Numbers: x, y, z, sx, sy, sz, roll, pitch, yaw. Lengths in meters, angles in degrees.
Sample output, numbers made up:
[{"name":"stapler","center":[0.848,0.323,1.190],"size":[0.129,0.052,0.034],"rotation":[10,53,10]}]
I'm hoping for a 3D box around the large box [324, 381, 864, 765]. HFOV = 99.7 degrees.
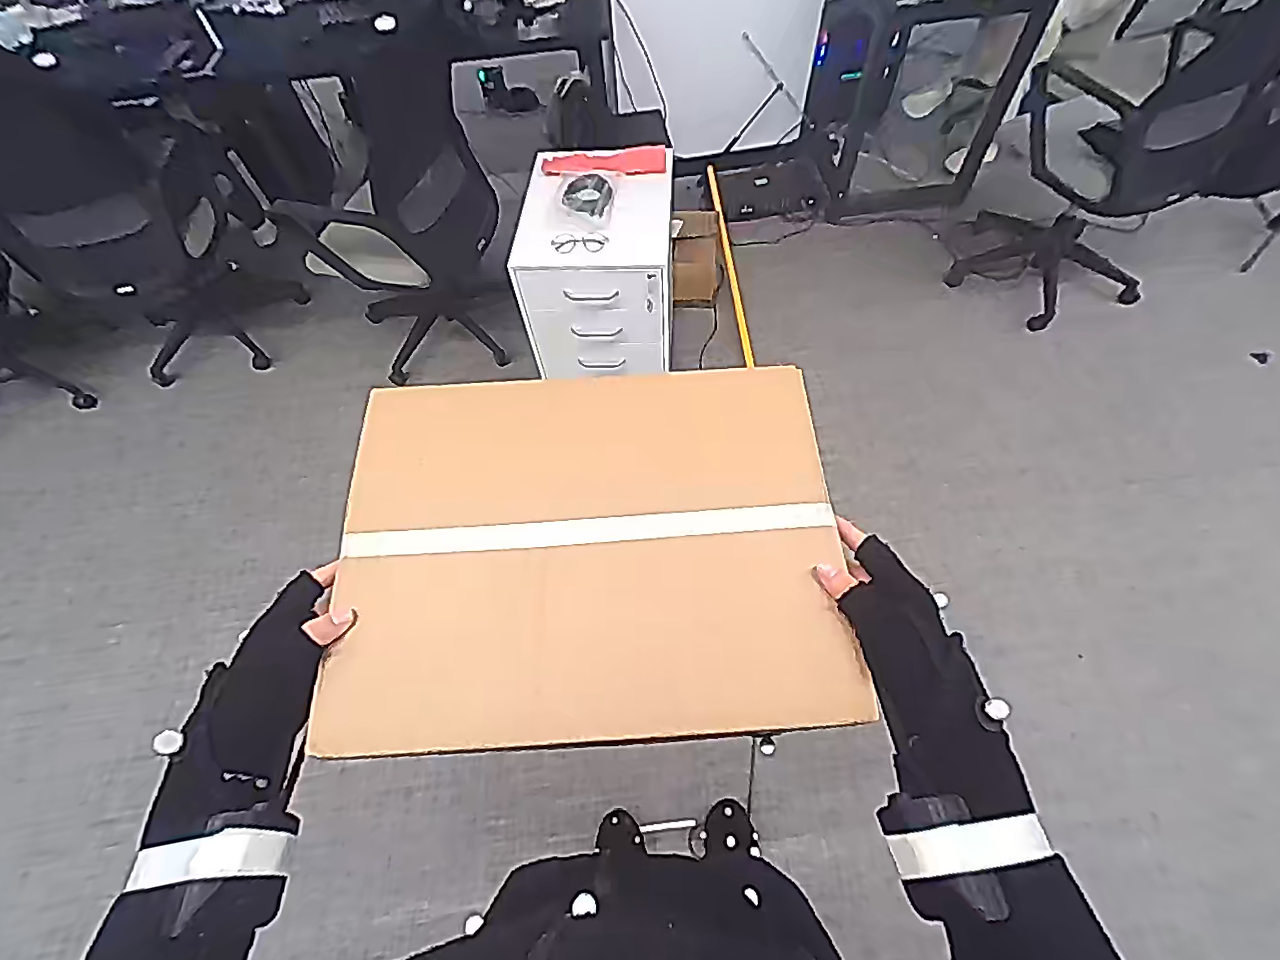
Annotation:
[{"name":"large box","center":[-0.039,0.116,0.590],"size":[0.408,0.320,0.320],"rotation":[-3,64,-1]}]
